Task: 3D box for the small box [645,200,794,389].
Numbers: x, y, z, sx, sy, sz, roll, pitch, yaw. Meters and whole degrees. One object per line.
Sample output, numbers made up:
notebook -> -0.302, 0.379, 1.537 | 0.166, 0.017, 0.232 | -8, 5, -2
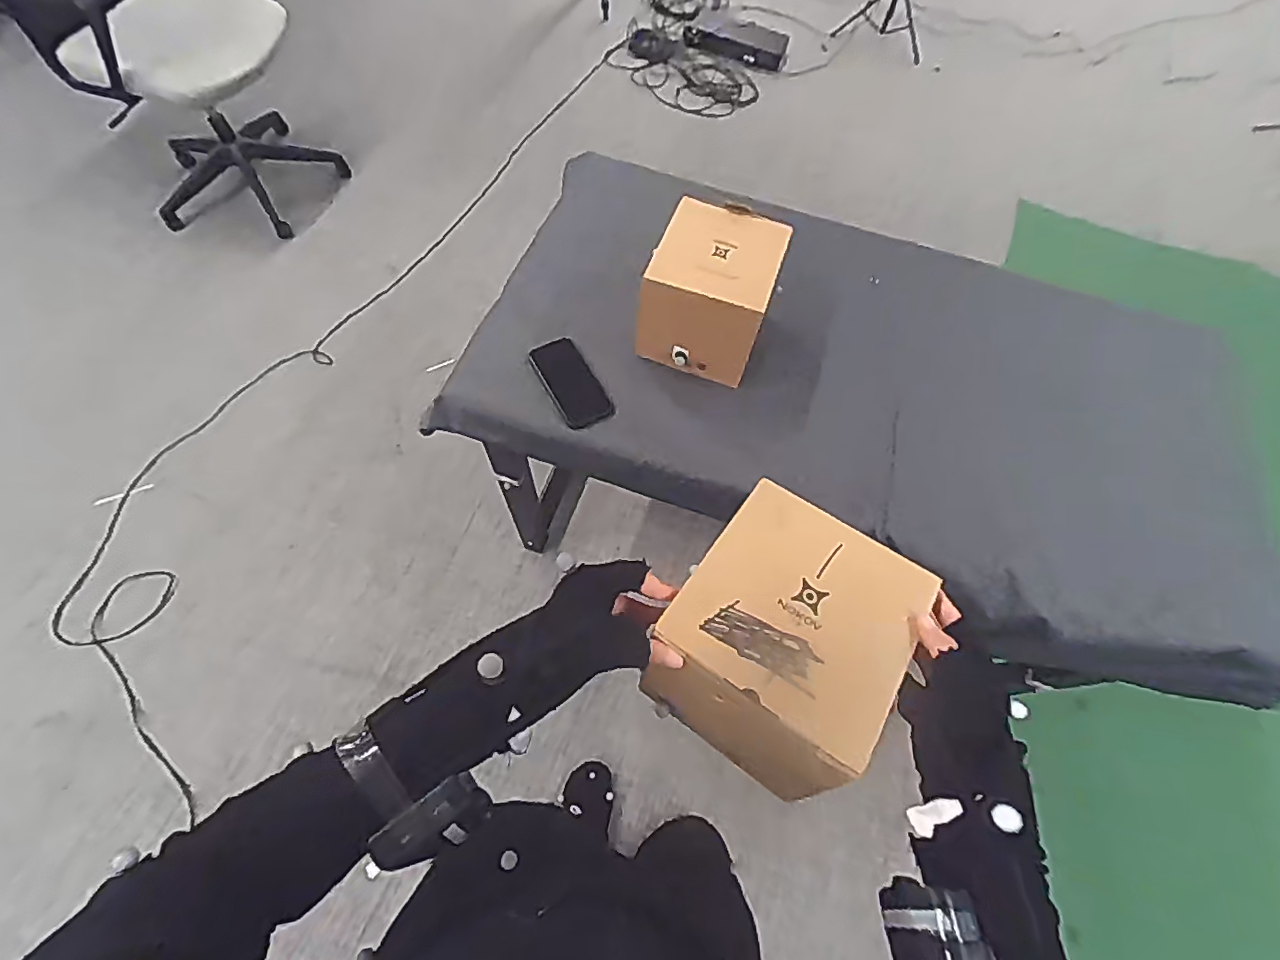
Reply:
small box -> 0.110, -0.269, 0.803 | 0.168, 0.176, 0.179 | 18, 65, 6
